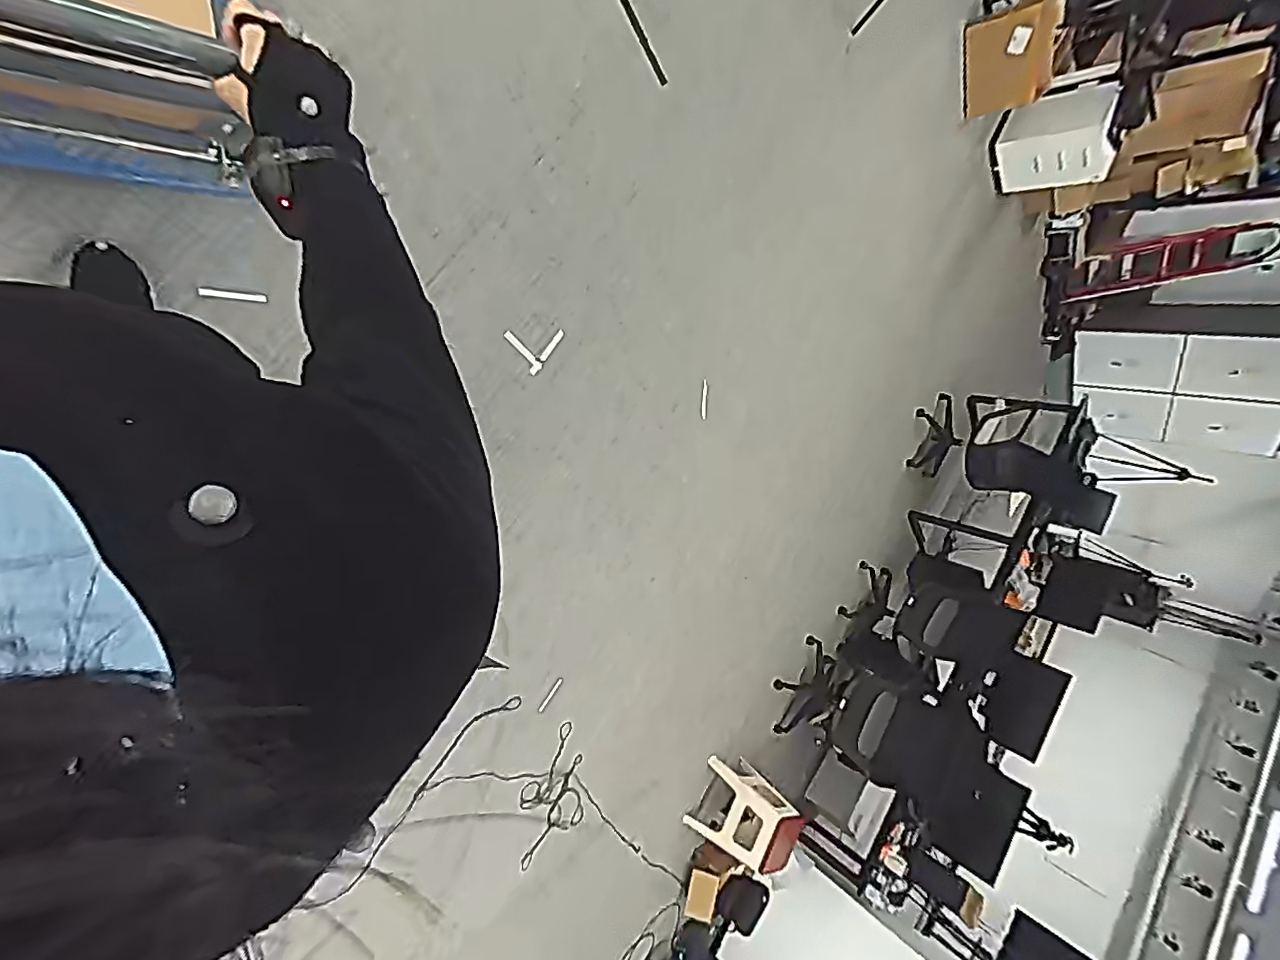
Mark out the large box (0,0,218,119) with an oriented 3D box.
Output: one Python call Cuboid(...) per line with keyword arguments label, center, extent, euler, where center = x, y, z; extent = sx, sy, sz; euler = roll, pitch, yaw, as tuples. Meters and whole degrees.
Cuboid(label="large box", center=(-0.818, -0.699, 0.662), extent=(0.408, 0.320, 0.320), euler=(-14, 113, -42))
